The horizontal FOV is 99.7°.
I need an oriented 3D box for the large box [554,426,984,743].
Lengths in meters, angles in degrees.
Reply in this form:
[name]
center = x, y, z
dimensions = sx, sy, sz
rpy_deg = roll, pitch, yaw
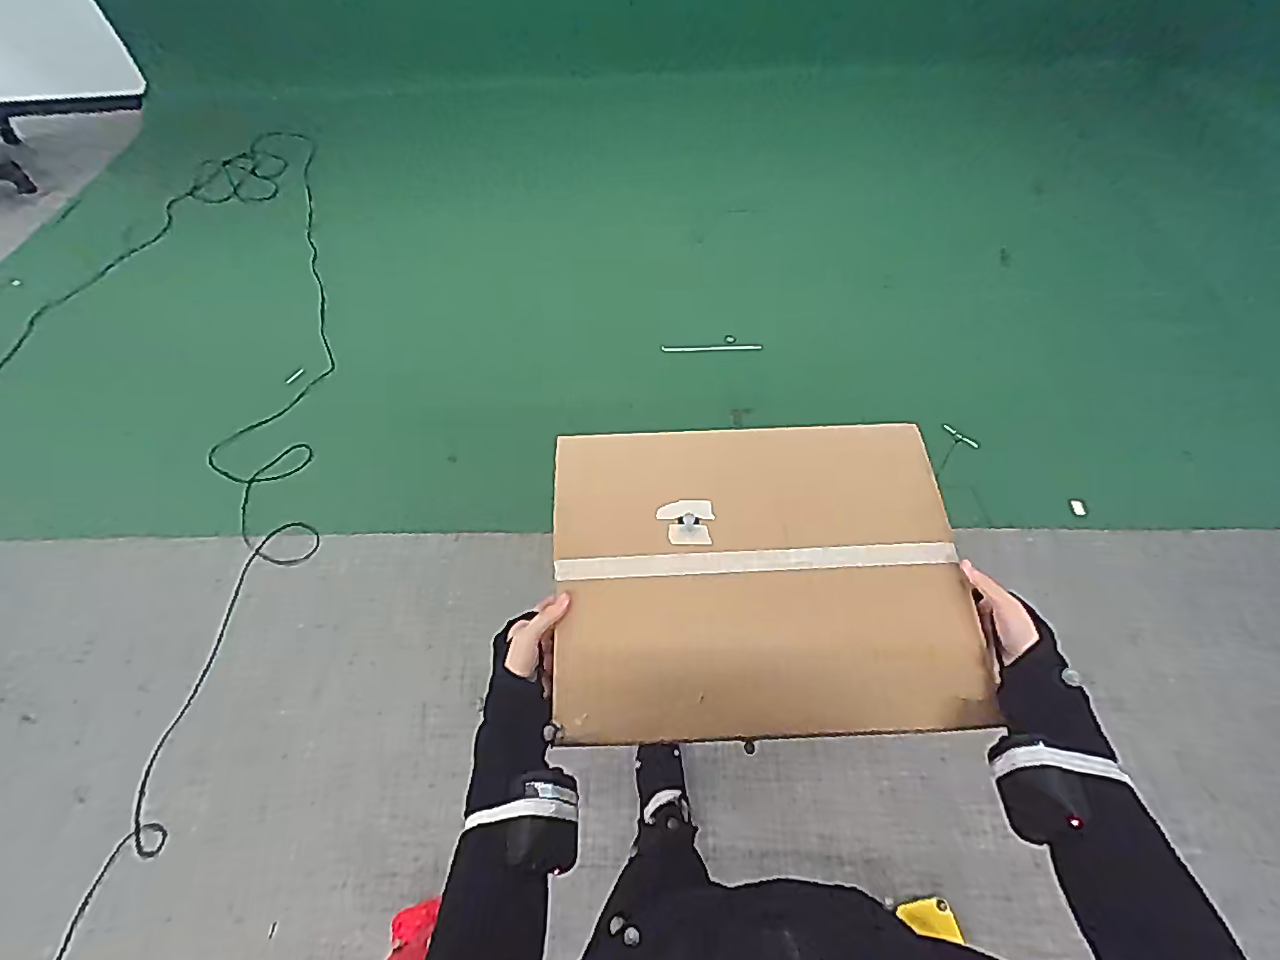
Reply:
[large box]
center = 0.117, 0.150, 0.690
dimensions = 0.408, 0.320, 0.320
rpy_deg = -3, 64, 0
